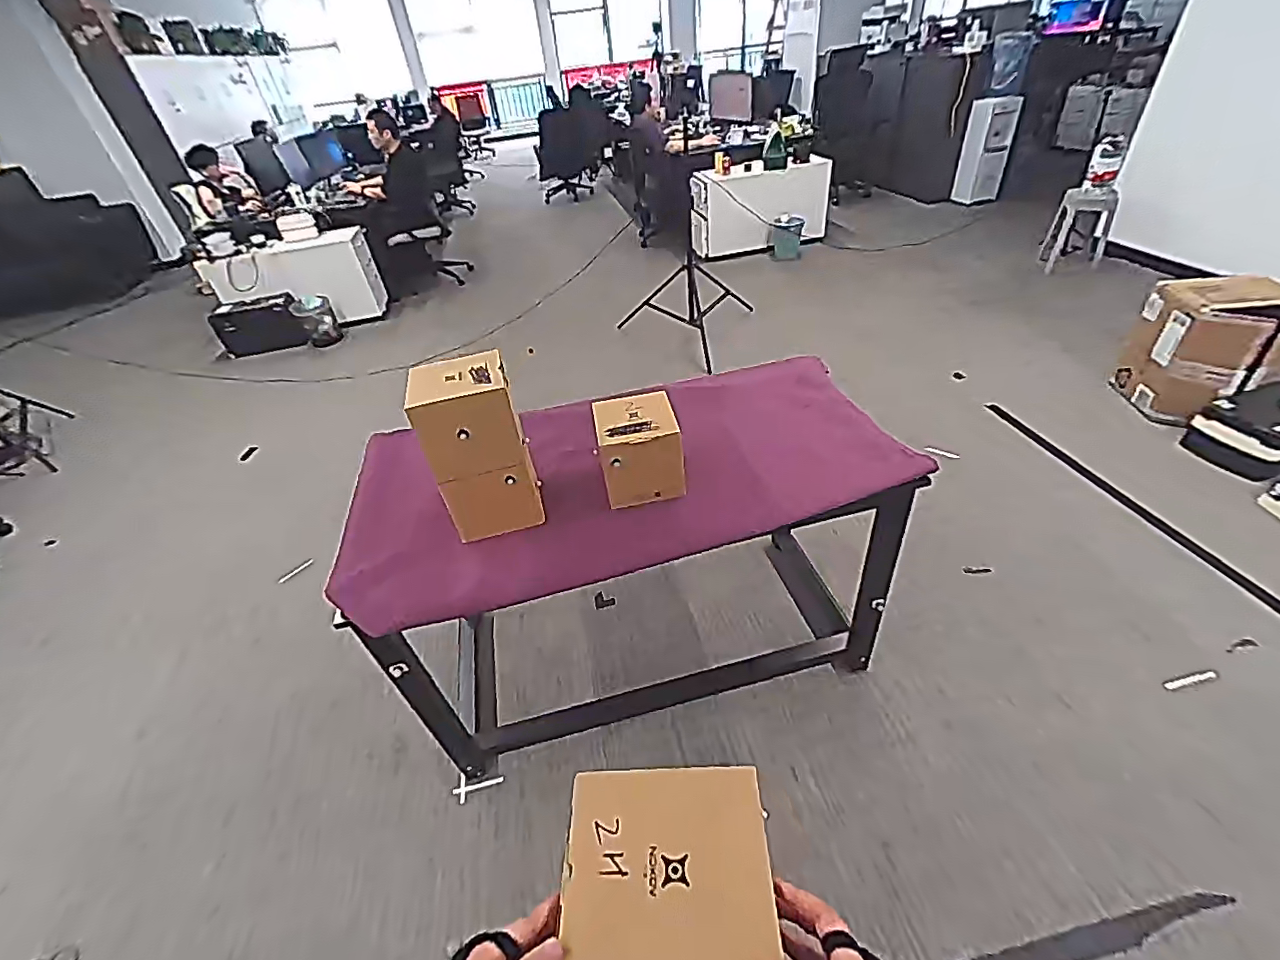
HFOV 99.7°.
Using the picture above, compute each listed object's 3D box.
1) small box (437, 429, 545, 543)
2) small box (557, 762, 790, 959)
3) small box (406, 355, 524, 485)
[{"bbox_3d":[-0.313,0.009,1.144,0.179,0.176,0.168,-14,39,-9],"label":"small box"},{"bbox_3d":[0.034,0.386,0.502,0.179,0.176,0.168,-5,35,5],"label":"small box"},{"bbox_3d":[-0.326,-0.116,1.038,0.179,0.176,0.168,-15,39,-8],"label":"small box"}]
